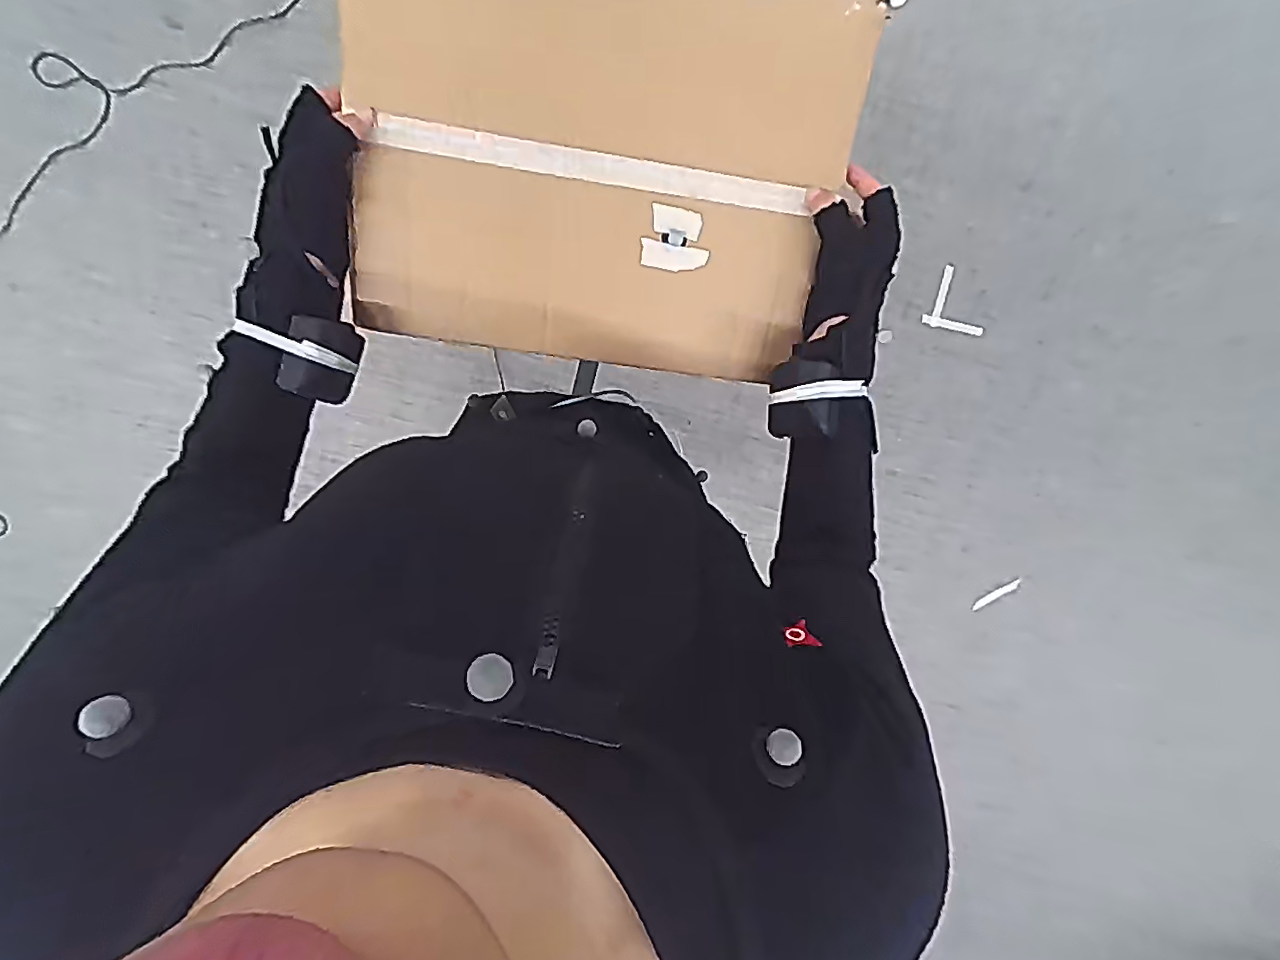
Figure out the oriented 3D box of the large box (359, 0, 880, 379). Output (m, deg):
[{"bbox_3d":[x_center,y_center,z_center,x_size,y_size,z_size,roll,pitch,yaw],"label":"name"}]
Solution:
[{"bbox_3d":[-0.038,-0.313,0.593,0.408,0.320,0.320,6,112,-8],"label":"large box"}]
